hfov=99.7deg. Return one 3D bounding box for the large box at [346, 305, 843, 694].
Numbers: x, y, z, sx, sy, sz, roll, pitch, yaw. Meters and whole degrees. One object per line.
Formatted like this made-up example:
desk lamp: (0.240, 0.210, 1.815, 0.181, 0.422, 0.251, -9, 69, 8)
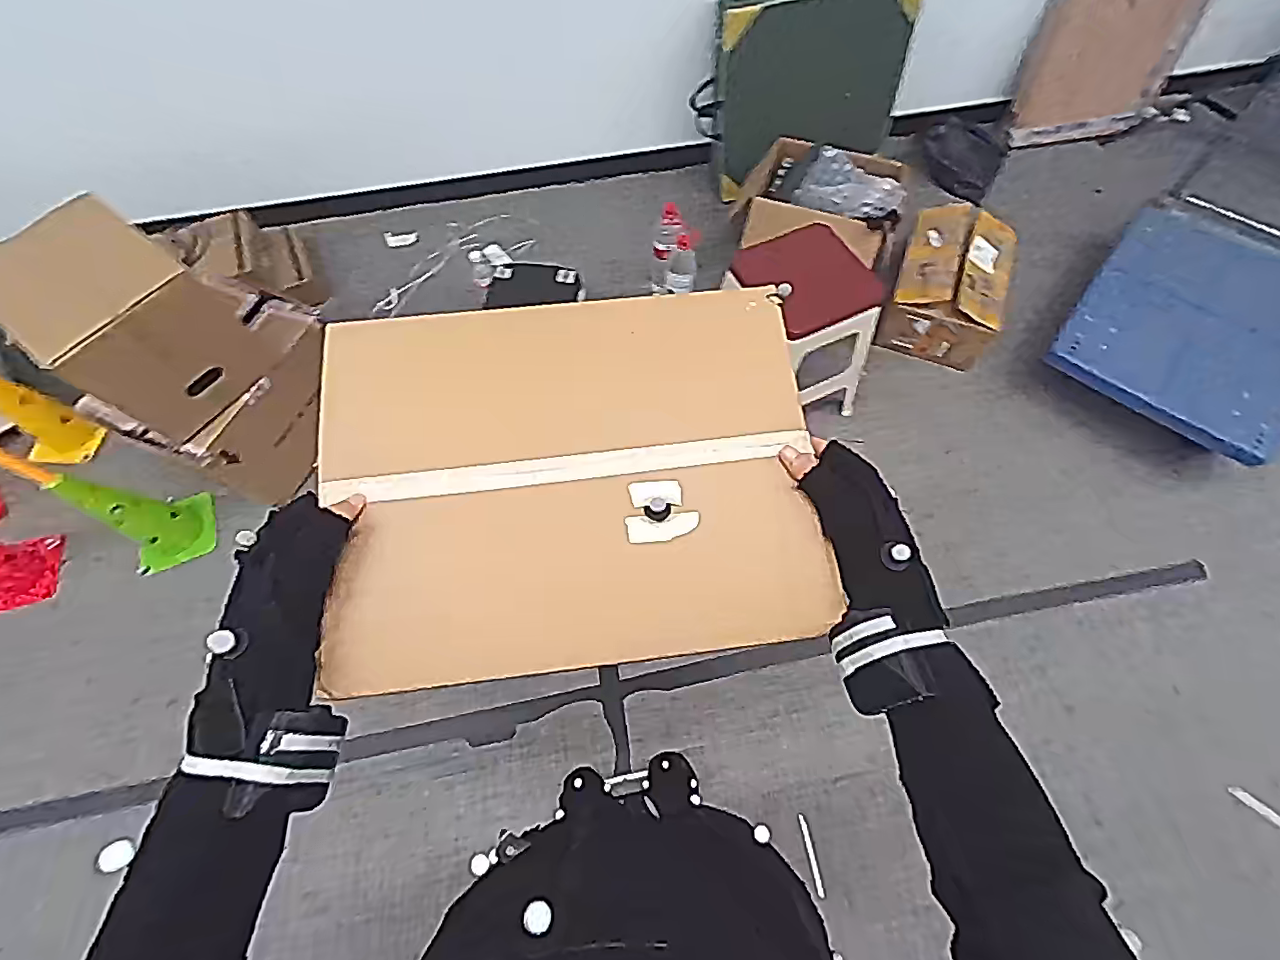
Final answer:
large box: (-0.054, 0.040, 0.610, 0.408, 0.320, 0.320, -6, 74, -4)
